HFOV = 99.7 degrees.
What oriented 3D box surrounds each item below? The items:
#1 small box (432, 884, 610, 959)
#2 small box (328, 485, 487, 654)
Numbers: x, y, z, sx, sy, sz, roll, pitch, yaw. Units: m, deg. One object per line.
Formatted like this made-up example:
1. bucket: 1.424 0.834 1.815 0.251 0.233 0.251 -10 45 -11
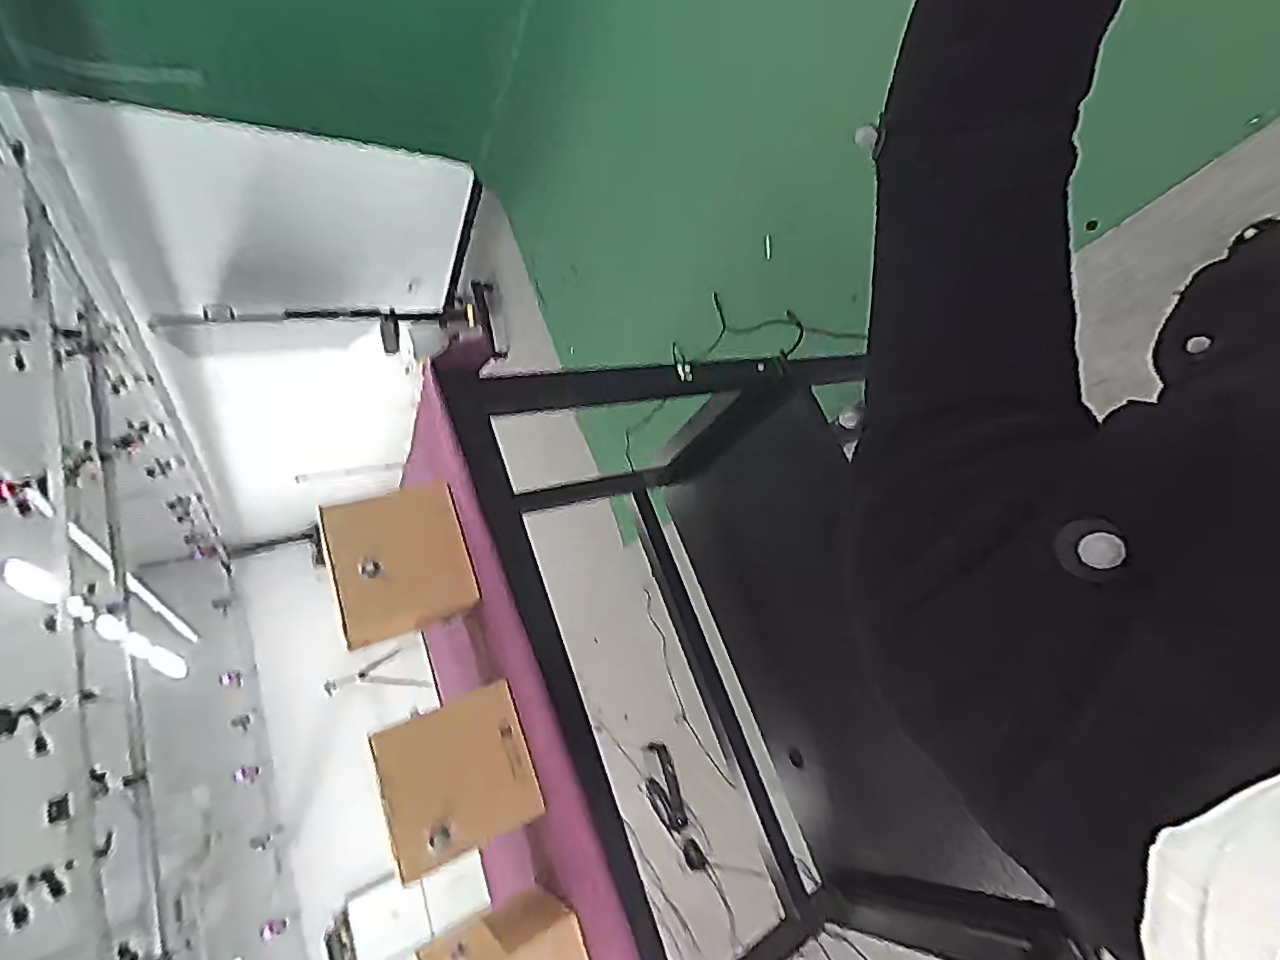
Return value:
1. small box: -0.126 0.617 0.632 0.179 0.176 0.168 -42 65 54
2. small box: -0.334 0.127 0.780 0.168 0.176 0.179 -44 64 53
